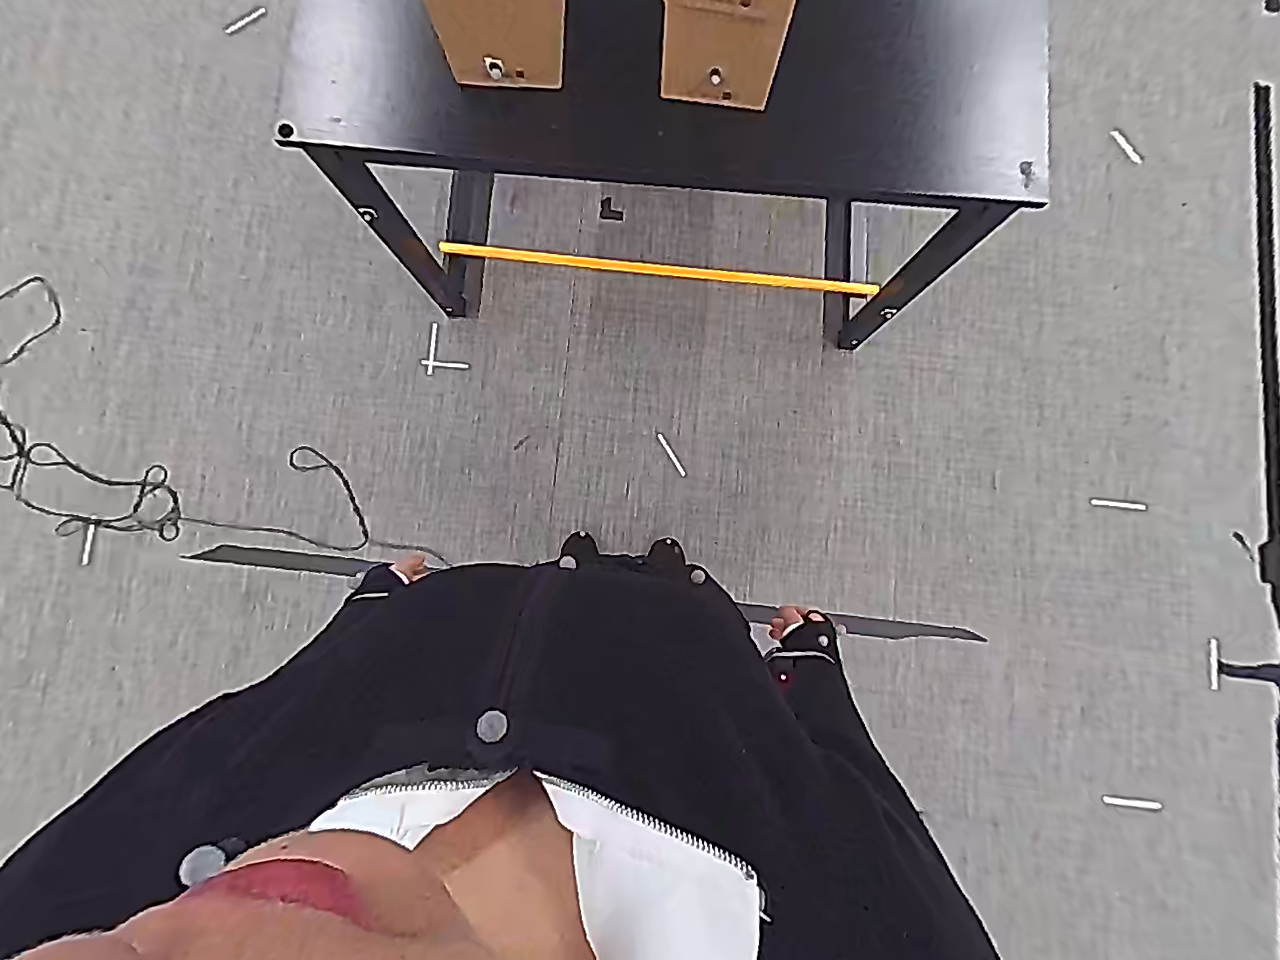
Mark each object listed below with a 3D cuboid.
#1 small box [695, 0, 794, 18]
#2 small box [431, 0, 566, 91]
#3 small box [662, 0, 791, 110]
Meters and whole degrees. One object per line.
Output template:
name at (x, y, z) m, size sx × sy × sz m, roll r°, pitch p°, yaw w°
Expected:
small box at (0.124, -0.685, 0.616) m, size 0.168 × 0.176 × 0.179 m, roll 10°, pitch 85°, yaw 1°
small box at (-0.202, -0.712, 0.782) m, size 0.168 × 0.176 × 0.179 m, roll 1°, pitch 85°, yaw 1°
small box at (0.124, -0.687, 0.781) m, size 0.168 × 0.176 × 0.179 m, roll 8°, pitch 84°, yaw 1°
